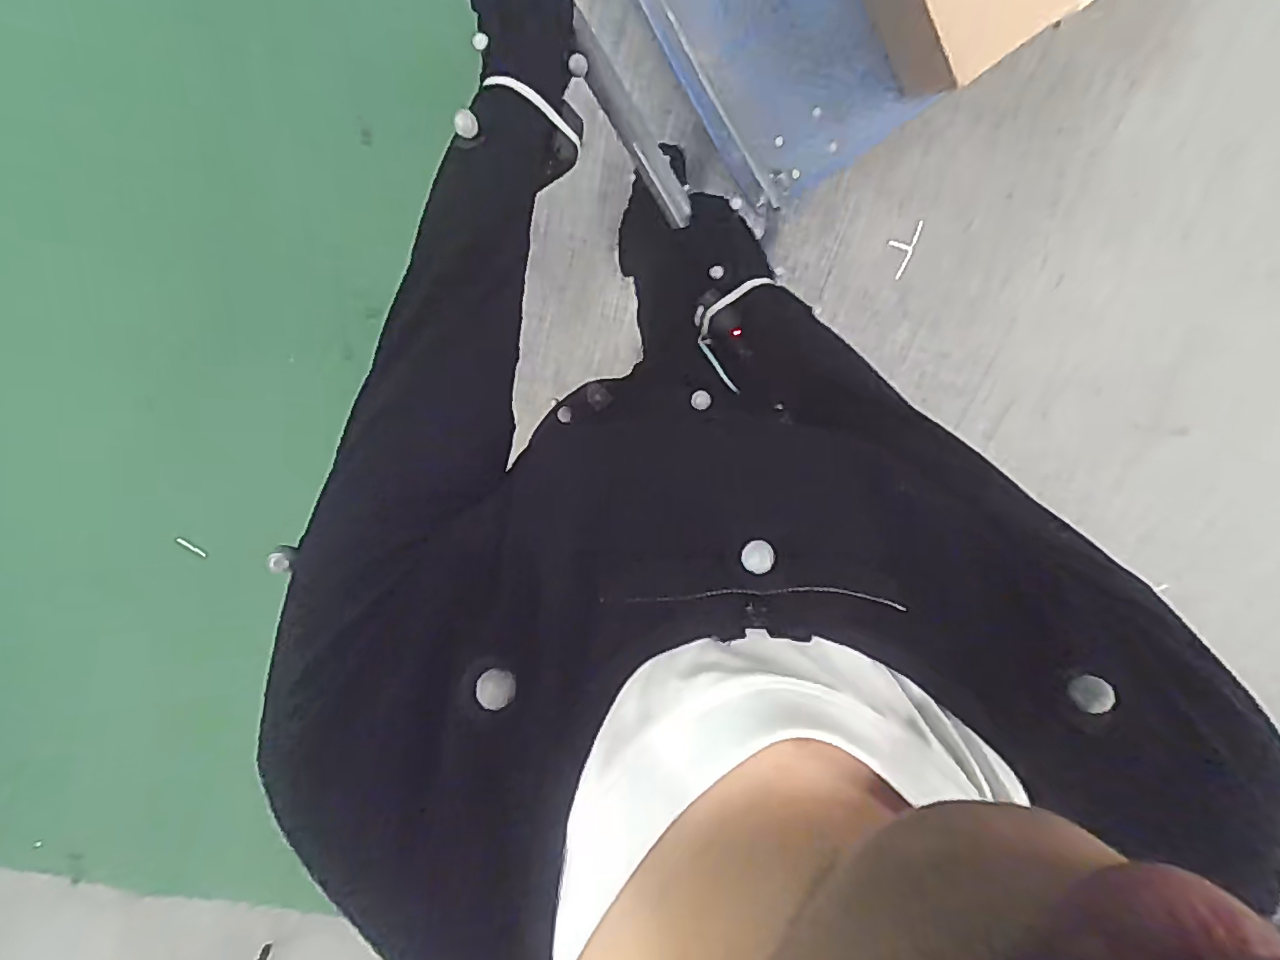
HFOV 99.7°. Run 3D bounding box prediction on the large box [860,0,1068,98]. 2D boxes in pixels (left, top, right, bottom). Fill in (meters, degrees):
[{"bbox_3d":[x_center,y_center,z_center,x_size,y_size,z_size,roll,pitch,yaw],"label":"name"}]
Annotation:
[{"bbox_3d":[0.468,-0.843,0.758,0.320,0.320,0.408,-28,112,26],"label":"large box"}]
